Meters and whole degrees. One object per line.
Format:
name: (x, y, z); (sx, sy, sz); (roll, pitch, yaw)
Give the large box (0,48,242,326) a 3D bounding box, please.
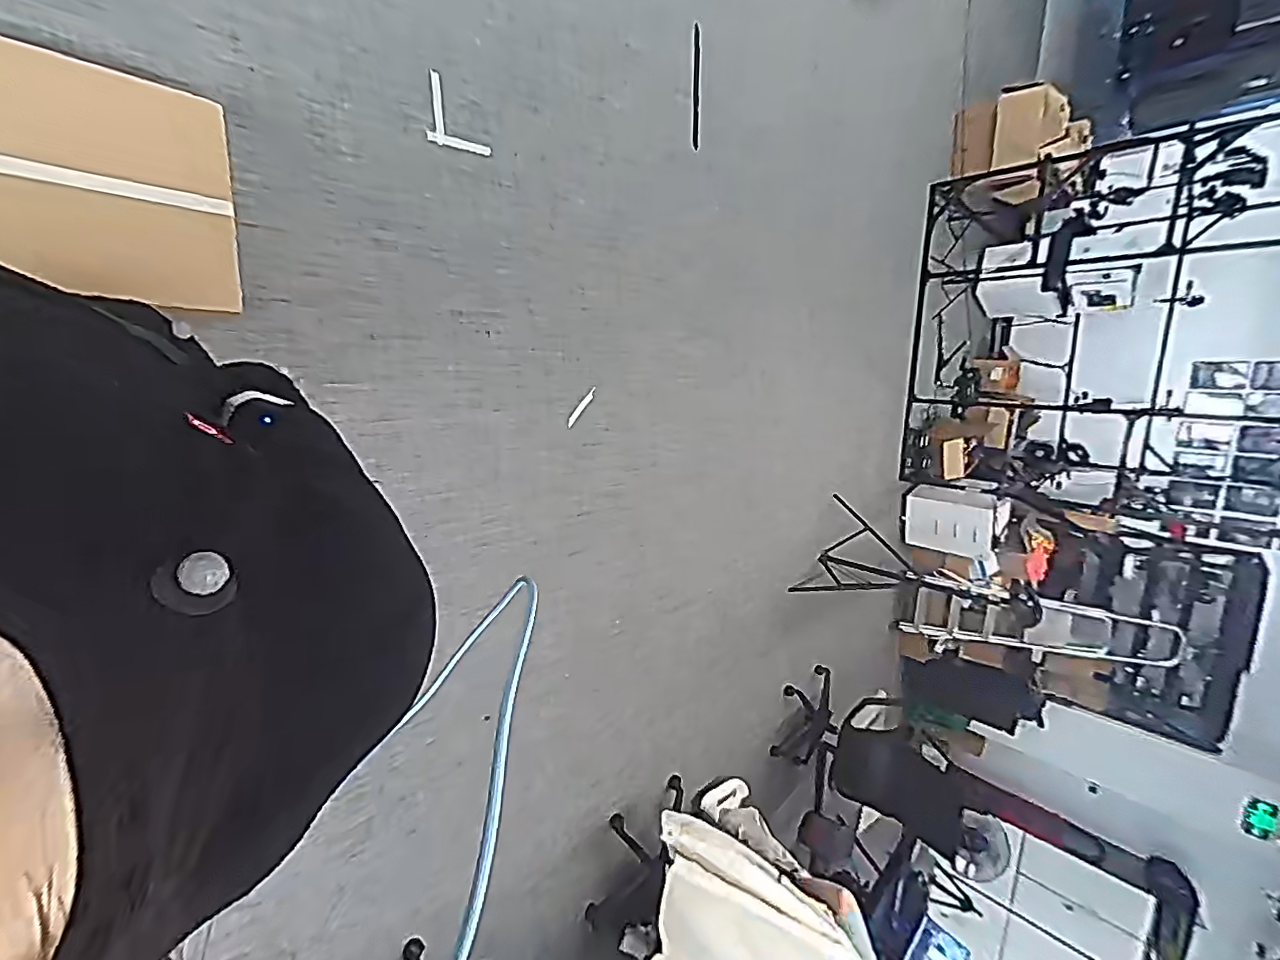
large box: (-0.897, -0.416, 0.824); (0.408, 0.320, 0.320); (-9, 105, -45)
